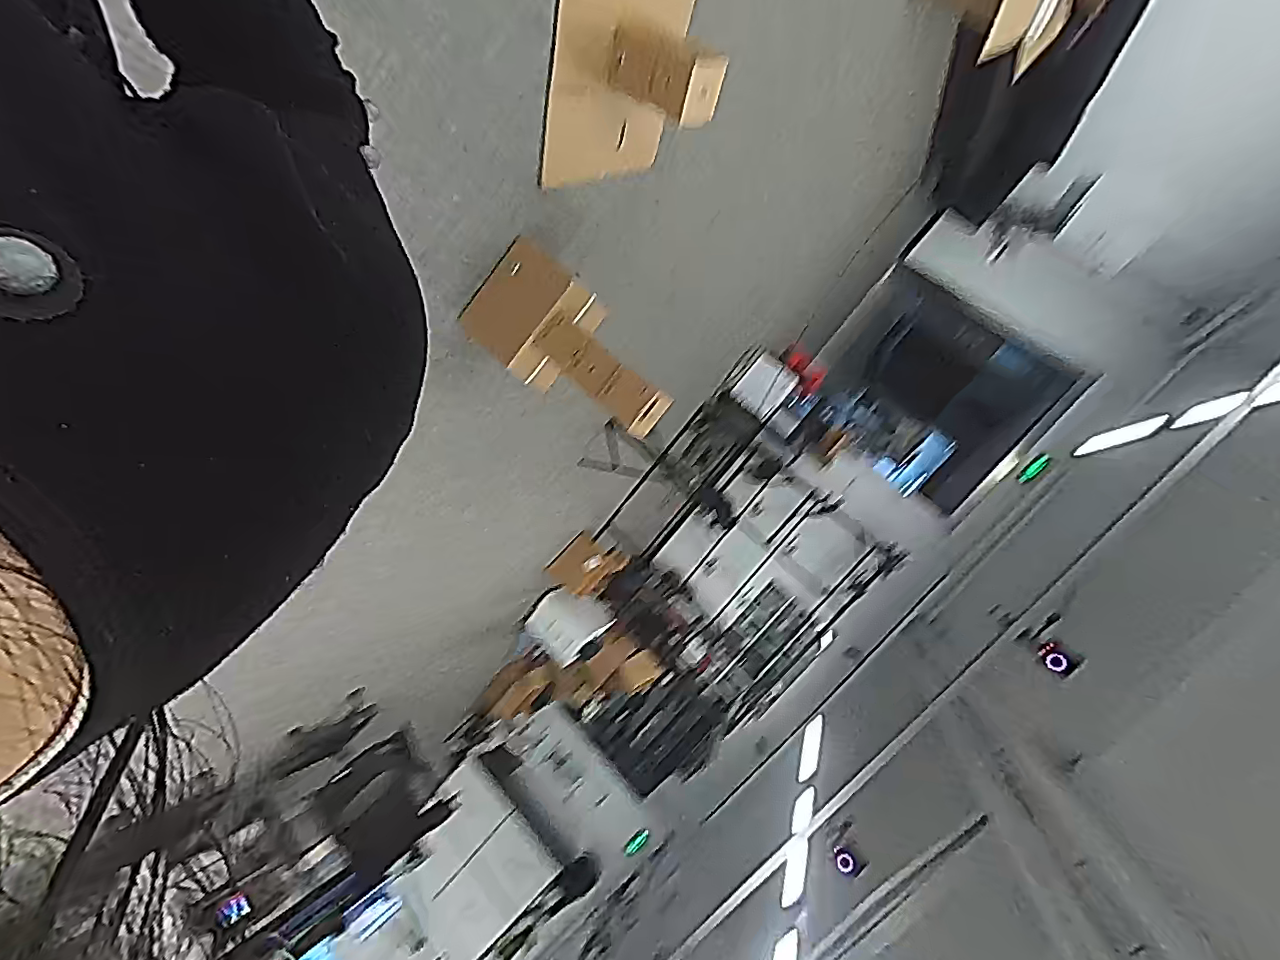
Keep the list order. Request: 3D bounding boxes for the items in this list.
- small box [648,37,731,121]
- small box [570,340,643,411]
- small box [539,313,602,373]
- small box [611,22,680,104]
[{"bbox_3d":[0.150,-1.267,1.705,0.179,0.176,0.168,-36,160,-33],"label":"small box"},{"bbox_3d":[-0.122,-0.381,1.951,0.168,0.176,0.179,-50,161,8],"label":"small box"},{"bbox_3d":[-0.241,-0.486,1.992,0.168,0.176,0.179,-50,162,5],"label":"small box"},{"bbox_3d":[0.033,-1.367,1.766,0.179,0.176,0.168,-35,158,-32],"label":"small box"}]
